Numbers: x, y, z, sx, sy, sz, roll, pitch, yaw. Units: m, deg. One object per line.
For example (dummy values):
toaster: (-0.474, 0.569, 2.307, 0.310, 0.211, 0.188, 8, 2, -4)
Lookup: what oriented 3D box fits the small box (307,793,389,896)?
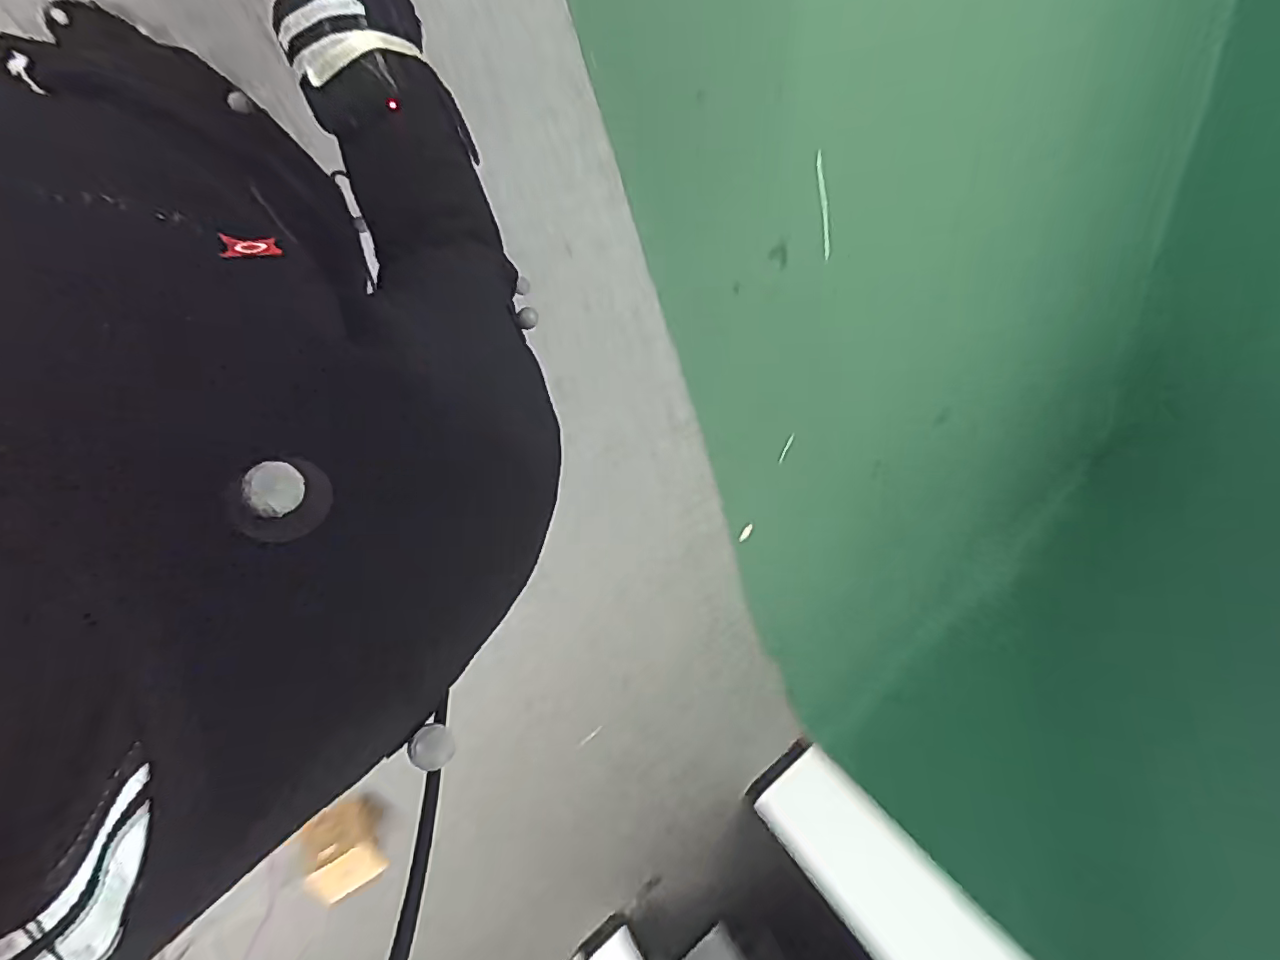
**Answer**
small box: (-0.892, 1.106, 1.651, 0.168, 0.176, 0.179, -26, 126, -21)
